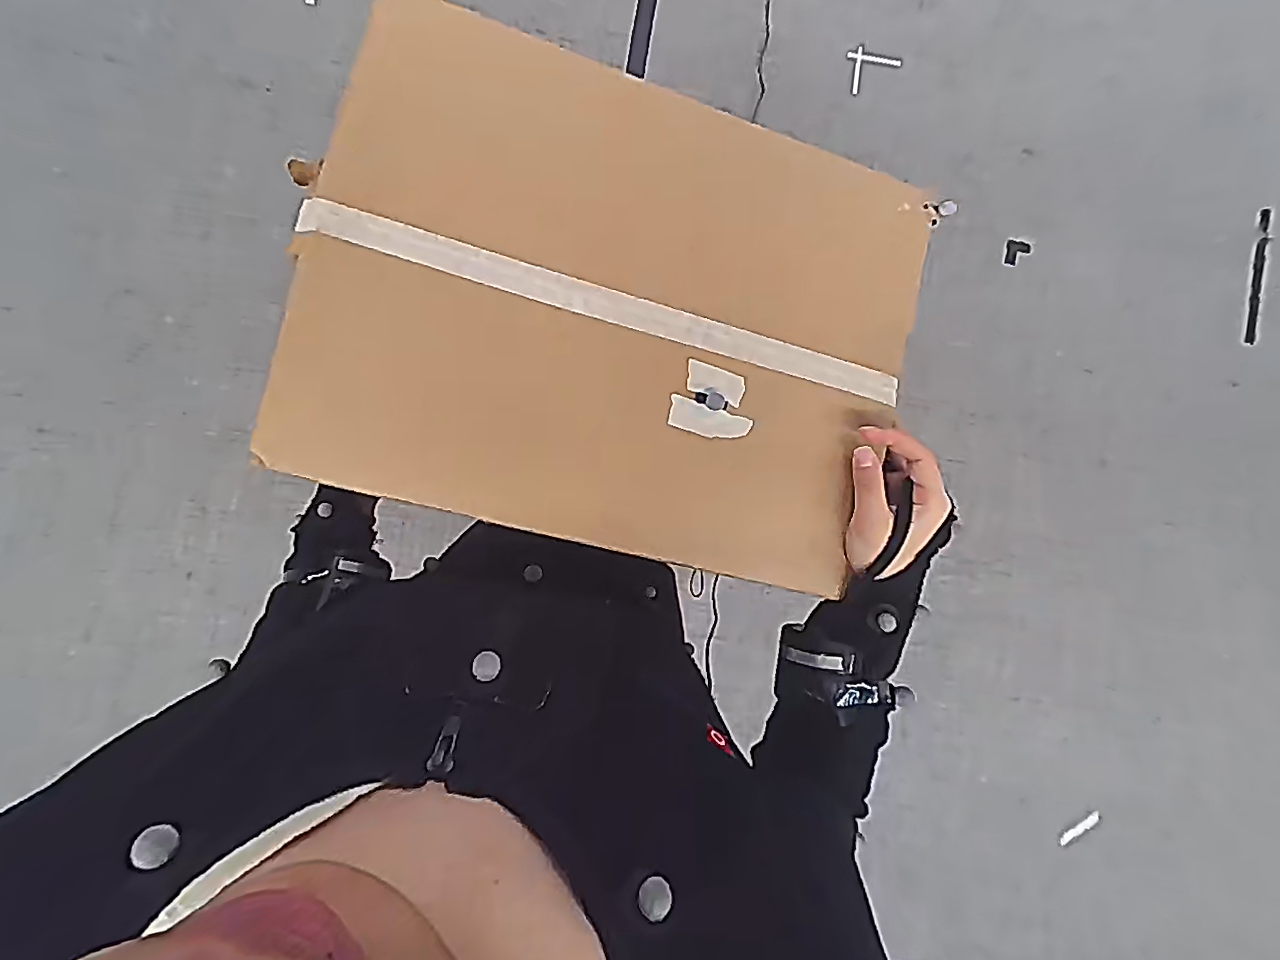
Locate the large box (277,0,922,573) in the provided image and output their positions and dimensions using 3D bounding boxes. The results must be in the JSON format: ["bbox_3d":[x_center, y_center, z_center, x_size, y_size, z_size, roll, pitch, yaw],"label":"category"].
[{"bbox_3d":[-0.032,-0.119,0.518,0.408,0.320,0.320,14,88,-12],"label":"large box"}]
